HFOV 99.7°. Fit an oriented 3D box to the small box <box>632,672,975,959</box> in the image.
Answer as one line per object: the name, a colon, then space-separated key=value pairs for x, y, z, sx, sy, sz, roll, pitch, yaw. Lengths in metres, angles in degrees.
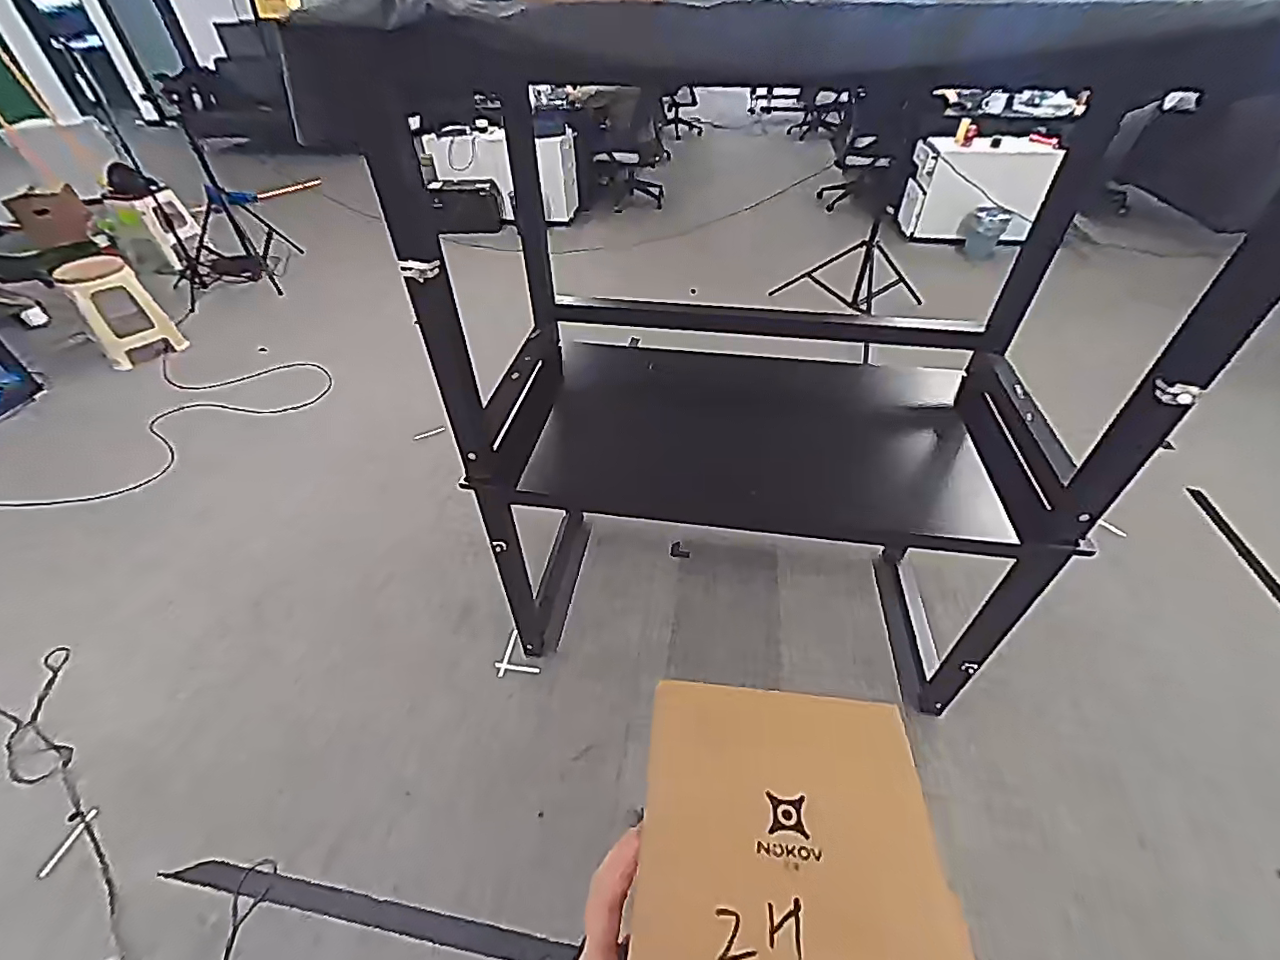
small box: x=0.085 y=0.257 z=0.354 sx=0.168 sy=0.176 sz=0.179 roll=4 pitch=39 yaw=6

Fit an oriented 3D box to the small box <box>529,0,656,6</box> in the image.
small box: x=-0.053 y=-0.665 z=0.627 sx=0.168 sy=0.176 sz=0.179 roll=4 pitch=42 yaw=3
